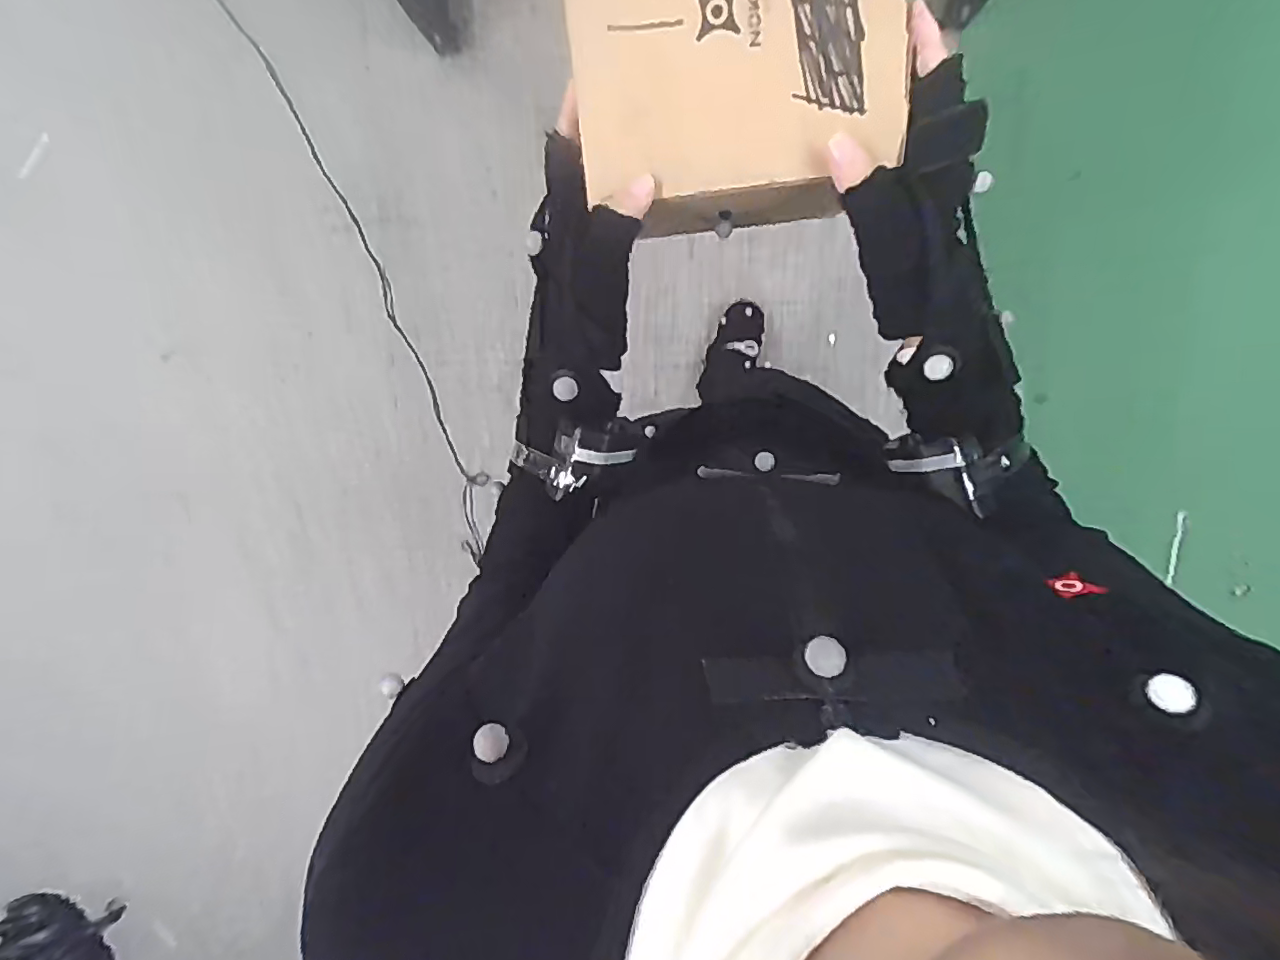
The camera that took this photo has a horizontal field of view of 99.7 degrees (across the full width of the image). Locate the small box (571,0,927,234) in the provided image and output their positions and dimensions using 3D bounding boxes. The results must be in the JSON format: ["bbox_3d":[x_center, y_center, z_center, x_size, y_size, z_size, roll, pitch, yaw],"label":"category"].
[{"bbox_3d":[0.058,-0.265,0.345,0.179,0.176,0.168,-7,108,8],"label":"small box"}]
